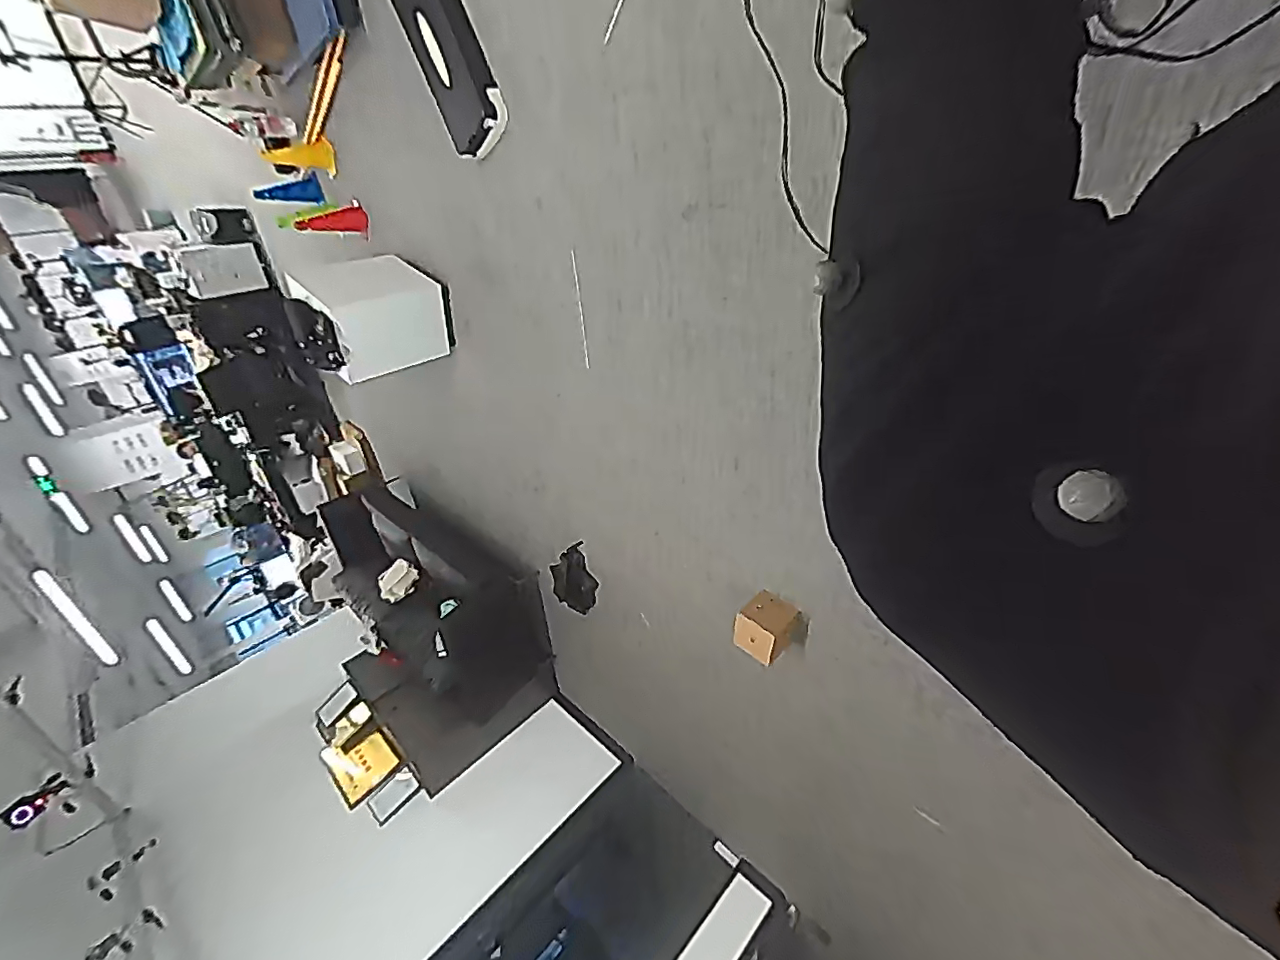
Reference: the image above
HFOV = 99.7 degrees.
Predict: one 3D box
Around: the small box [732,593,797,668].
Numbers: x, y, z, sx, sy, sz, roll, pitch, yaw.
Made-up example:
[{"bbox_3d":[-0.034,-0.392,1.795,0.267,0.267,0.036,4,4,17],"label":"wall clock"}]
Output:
[{"bbox_3d":[0.468,0.556,2.020,0.168,0.176,0.179,29,135,36],"label":"small box"}]
